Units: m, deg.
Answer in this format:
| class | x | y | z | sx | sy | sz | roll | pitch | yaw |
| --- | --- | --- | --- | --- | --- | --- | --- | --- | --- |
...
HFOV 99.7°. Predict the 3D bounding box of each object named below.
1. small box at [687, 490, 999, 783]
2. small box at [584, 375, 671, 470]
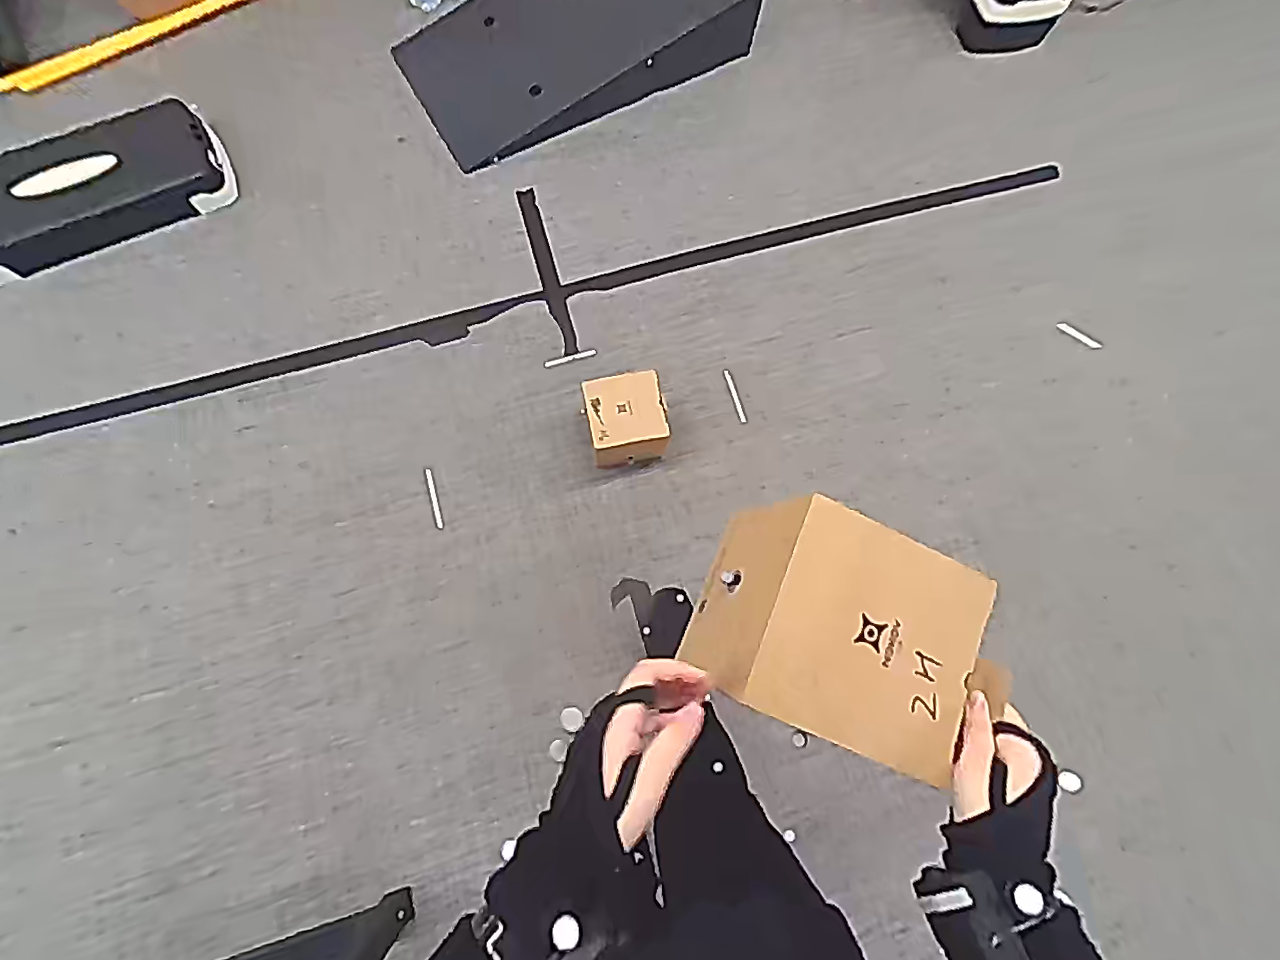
| class | x | y | z | sx | sy | sz | roll | pitch | yaw |
| --- | --- | --- | --- | --- | --- | --- | --- | --- | --- |
| small box | 0.161 | 0.127 | 0.479 | 0.179 | 0.176 | 0.168 | 25 | 78 | -7 |
| small box | -0.037 | -0.131 | 1.289 | 0.179 | 0.176 | 0.168 | -10 | 77 | -7 |
